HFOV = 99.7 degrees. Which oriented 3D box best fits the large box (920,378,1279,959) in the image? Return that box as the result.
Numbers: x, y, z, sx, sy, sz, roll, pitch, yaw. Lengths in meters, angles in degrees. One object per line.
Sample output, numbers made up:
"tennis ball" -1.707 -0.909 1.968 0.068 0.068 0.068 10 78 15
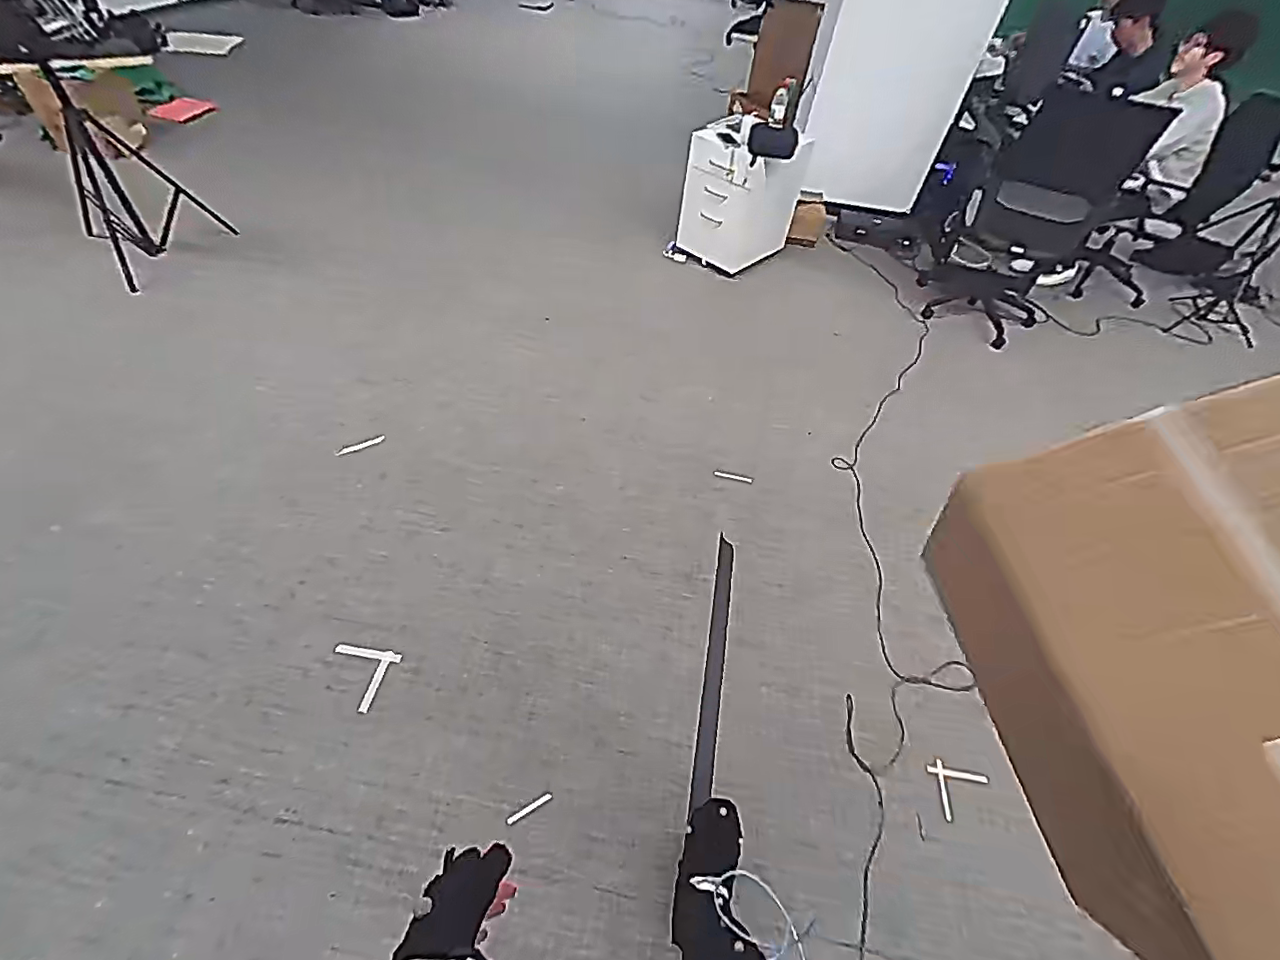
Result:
"large box" 0.517 0.165 0.503 0.320 0.320 0.408 -18 68 13
